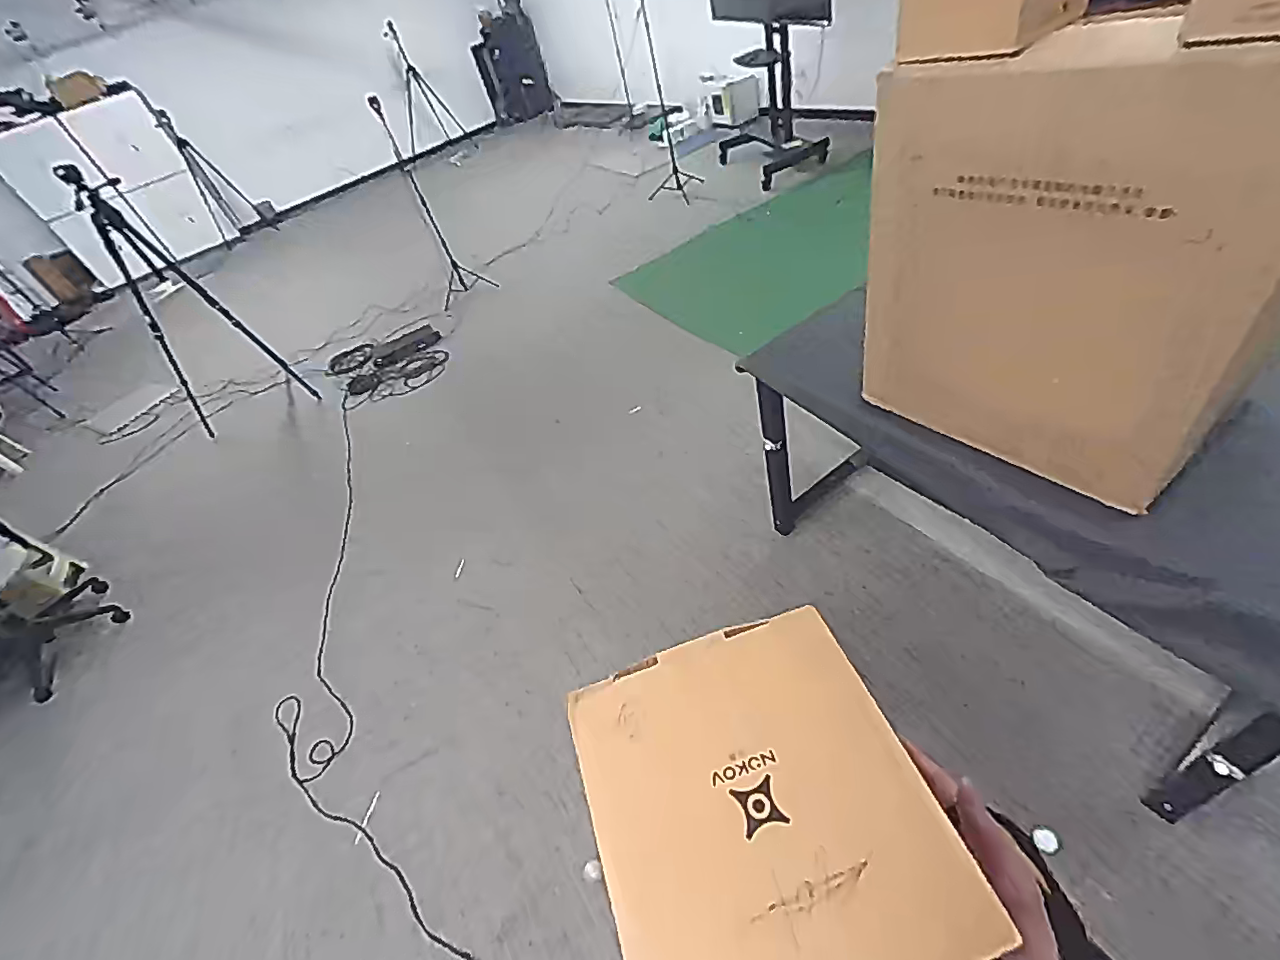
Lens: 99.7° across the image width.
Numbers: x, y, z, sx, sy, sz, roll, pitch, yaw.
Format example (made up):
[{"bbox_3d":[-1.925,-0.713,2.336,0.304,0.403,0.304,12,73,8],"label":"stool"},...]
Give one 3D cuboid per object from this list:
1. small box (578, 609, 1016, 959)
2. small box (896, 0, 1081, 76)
[{"bbox_3d":[0.070,0.217,0.338,0.168,0.176,0.179,-18,48,-7],"label":"small box"},{"bbox_3d":[0.469,-0.674,0.731,0.168,0.176,0.179,-36,42,-15],"label":"small box"}]
